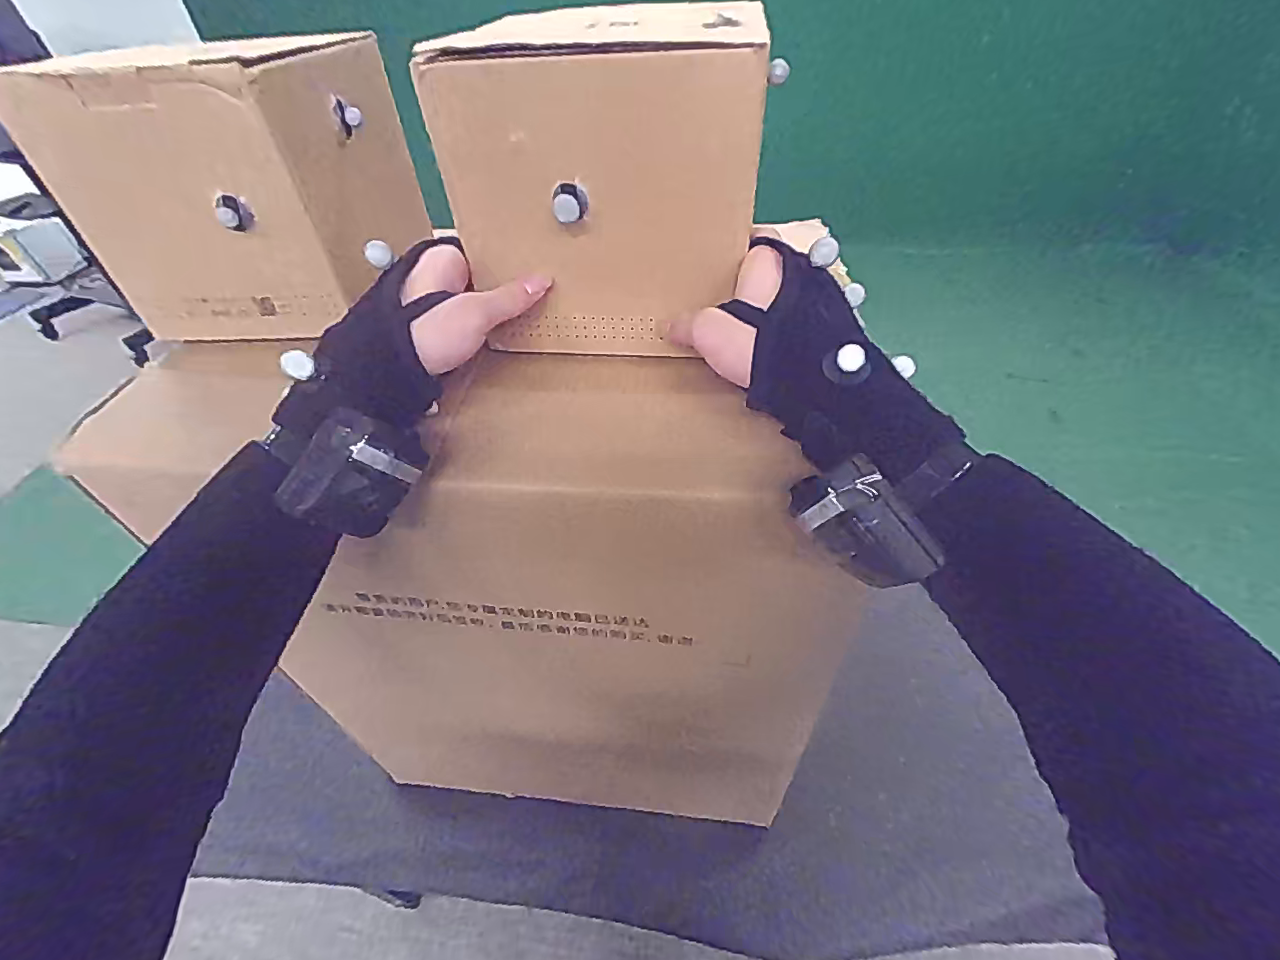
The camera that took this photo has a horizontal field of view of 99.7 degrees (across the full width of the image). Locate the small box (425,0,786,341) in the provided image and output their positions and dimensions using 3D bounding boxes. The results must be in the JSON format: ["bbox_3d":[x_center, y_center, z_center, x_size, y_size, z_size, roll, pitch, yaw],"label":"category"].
[{"bbox_3d":[-0.006,-0.207,0.362,0.179,0.176,0.168,4,45,7],"label":"small box"}]

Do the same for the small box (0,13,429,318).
[{"bbox_3d":[-0.279,-0.231,0.403,0.168,0.176,0.179,1,40,3],"label":"small box"}]
